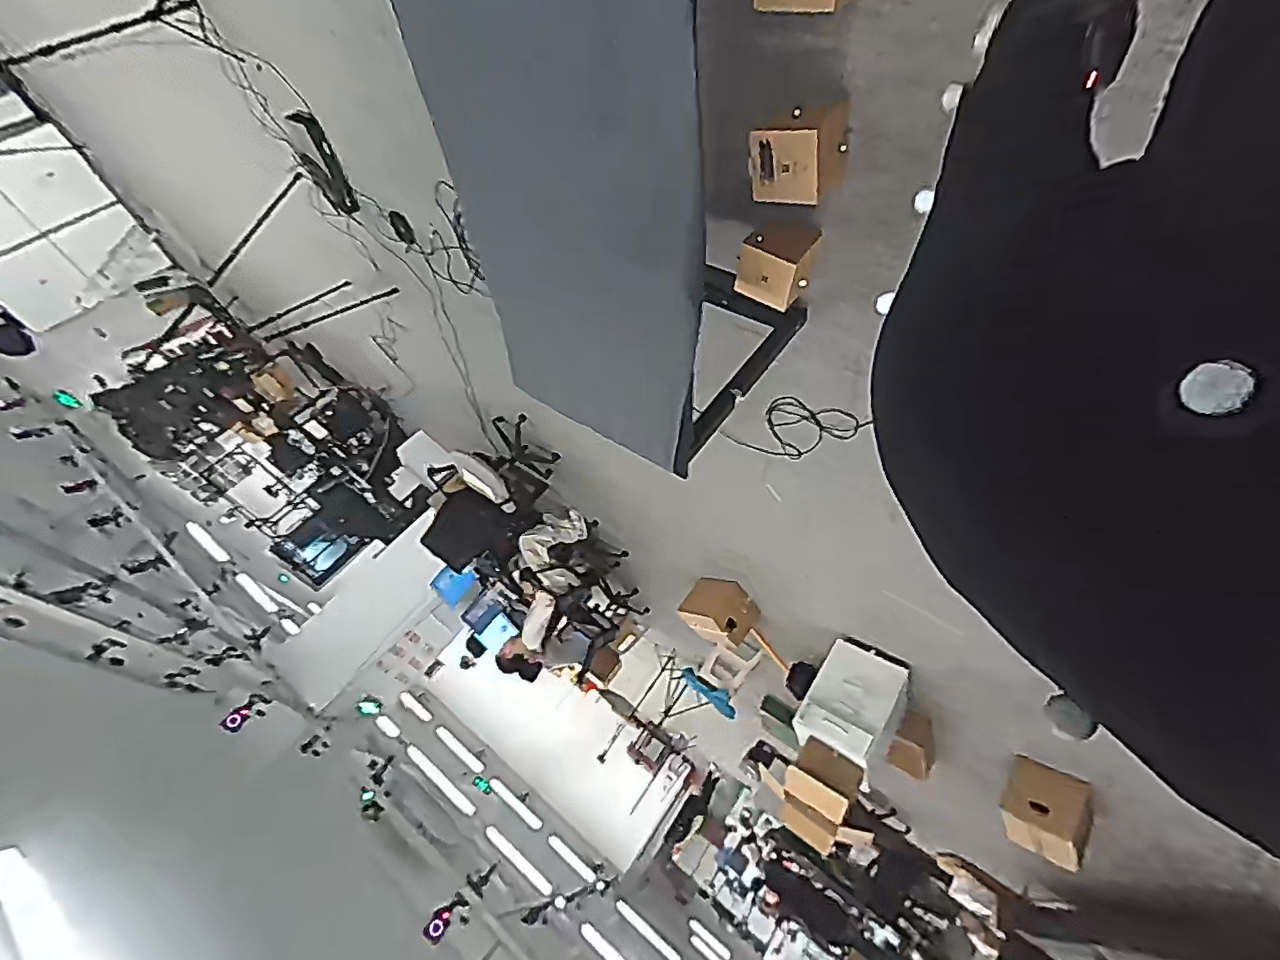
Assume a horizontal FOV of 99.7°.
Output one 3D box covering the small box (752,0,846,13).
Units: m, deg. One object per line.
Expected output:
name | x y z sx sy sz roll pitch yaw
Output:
small box | 0.335 -1.027 1.035 0.179 0.176 0.168 27 152 27

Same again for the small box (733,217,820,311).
small box | 0.401 -0.639 1.590 0.179 0.176 0.168 32 154 19
